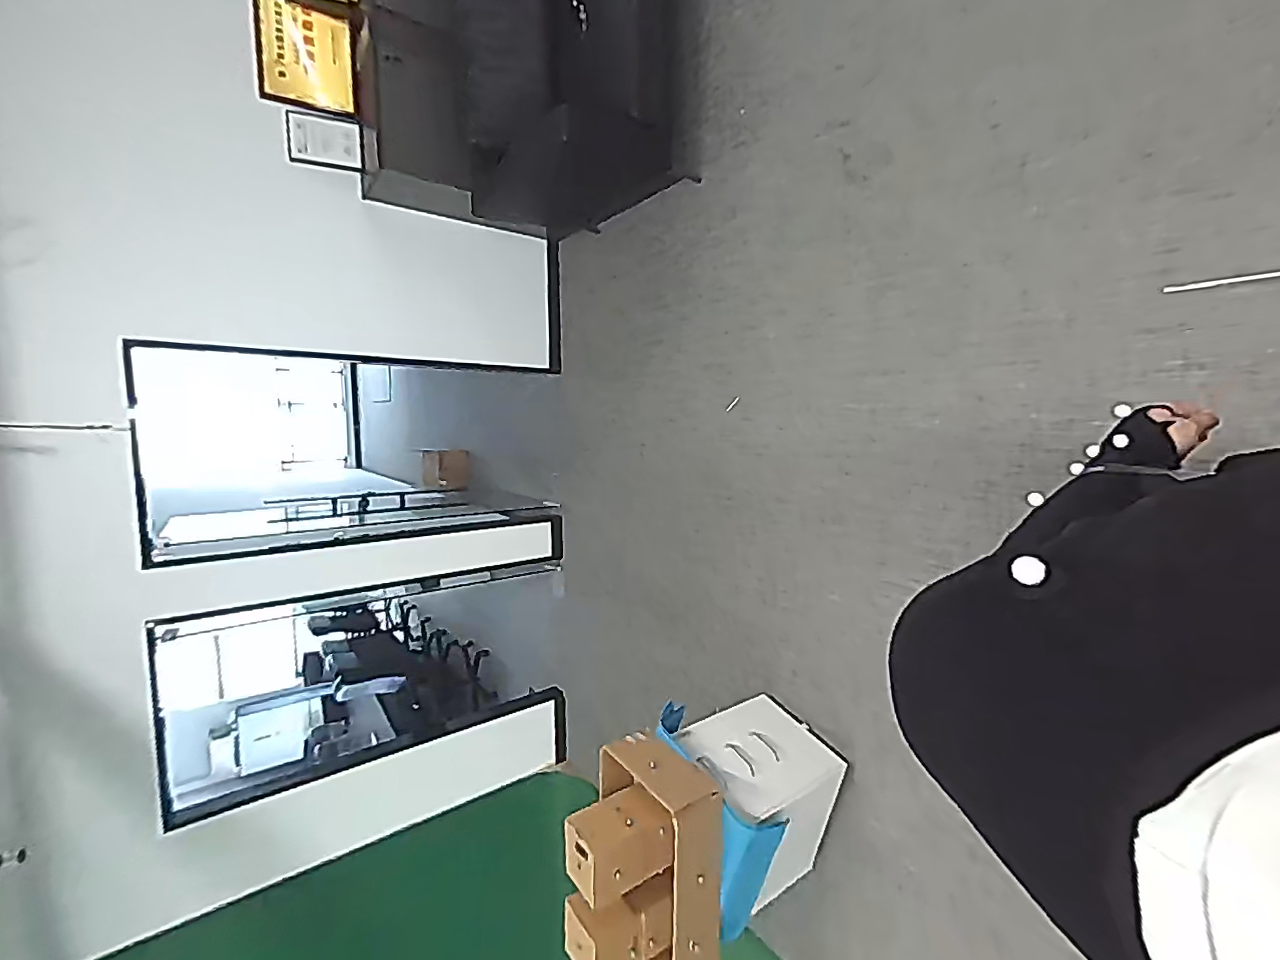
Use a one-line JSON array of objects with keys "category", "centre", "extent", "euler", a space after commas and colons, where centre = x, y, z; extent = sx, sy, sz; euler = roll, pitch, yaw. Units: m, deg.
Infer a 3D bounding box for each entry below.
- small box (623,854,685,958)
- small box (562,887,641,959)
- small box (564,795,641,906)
[{"category": "small box", "centre": [0.021, 1.318, 1.693], "extent": [0.179, 0.176, 0.168], "euler": [10, 101, 55]}, {"category": "small box", "centre": [-0.116, 1.325, 1.604], "extent": [0.179, 0.176, 0.168], "euler": [10, 100, 54]}, {"category": "small box", "centre": [-0.108, 1.062, 1.570], "extent": [0.168, 0.176, 0.179], "euler": [10, 102, 55]}]
